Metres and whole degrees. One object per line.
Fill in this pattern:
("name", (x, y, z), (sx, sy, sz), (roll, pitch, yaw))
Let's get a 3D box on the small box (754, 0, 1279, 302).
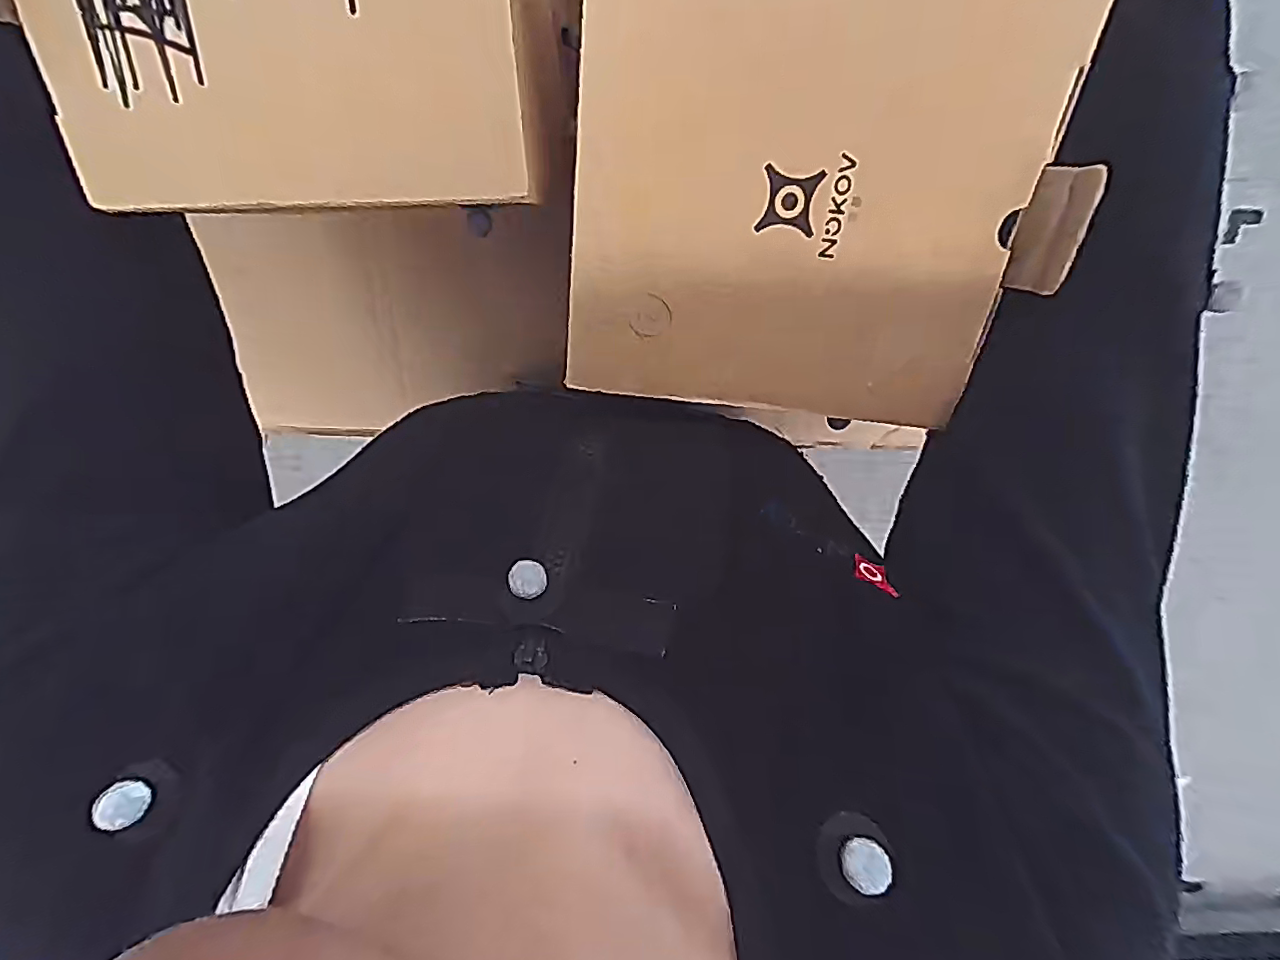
("small box", (0.168, -0.196, 0.232), (0.179, 0.176, 0.168), (18, 121, -7))
